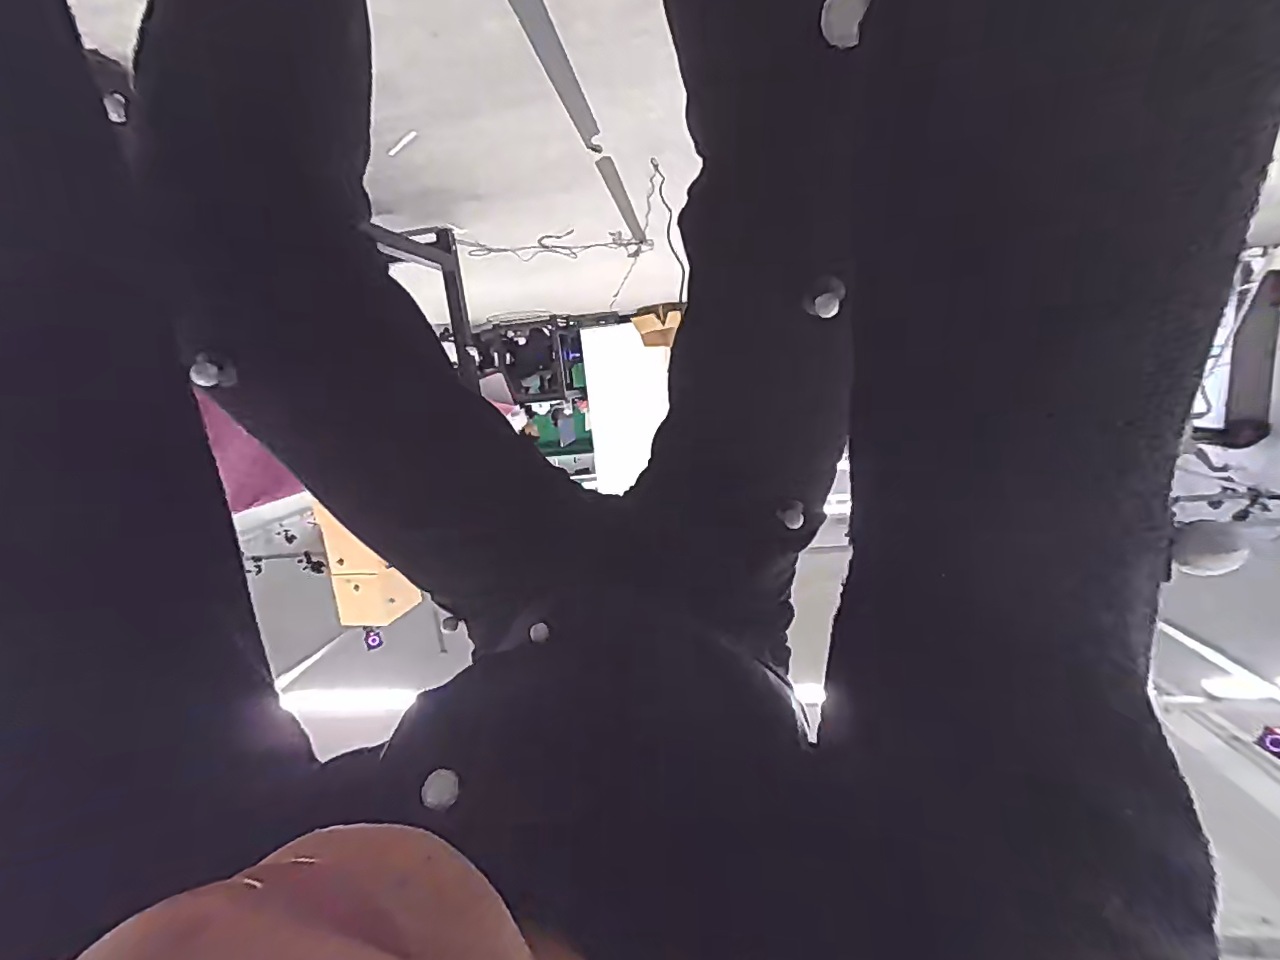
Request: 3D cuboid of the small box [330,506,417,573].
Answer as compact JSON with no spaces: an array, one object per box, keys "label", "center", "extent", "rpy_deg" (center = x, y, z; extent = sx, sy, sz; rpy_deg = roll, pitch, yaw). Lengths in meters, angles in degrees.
[{"label":"small box","center":[-0.822,0.175,1.663],"extent":[0.179,0.176,0.168],"rpy_deg":[-4,-167,14]}]
